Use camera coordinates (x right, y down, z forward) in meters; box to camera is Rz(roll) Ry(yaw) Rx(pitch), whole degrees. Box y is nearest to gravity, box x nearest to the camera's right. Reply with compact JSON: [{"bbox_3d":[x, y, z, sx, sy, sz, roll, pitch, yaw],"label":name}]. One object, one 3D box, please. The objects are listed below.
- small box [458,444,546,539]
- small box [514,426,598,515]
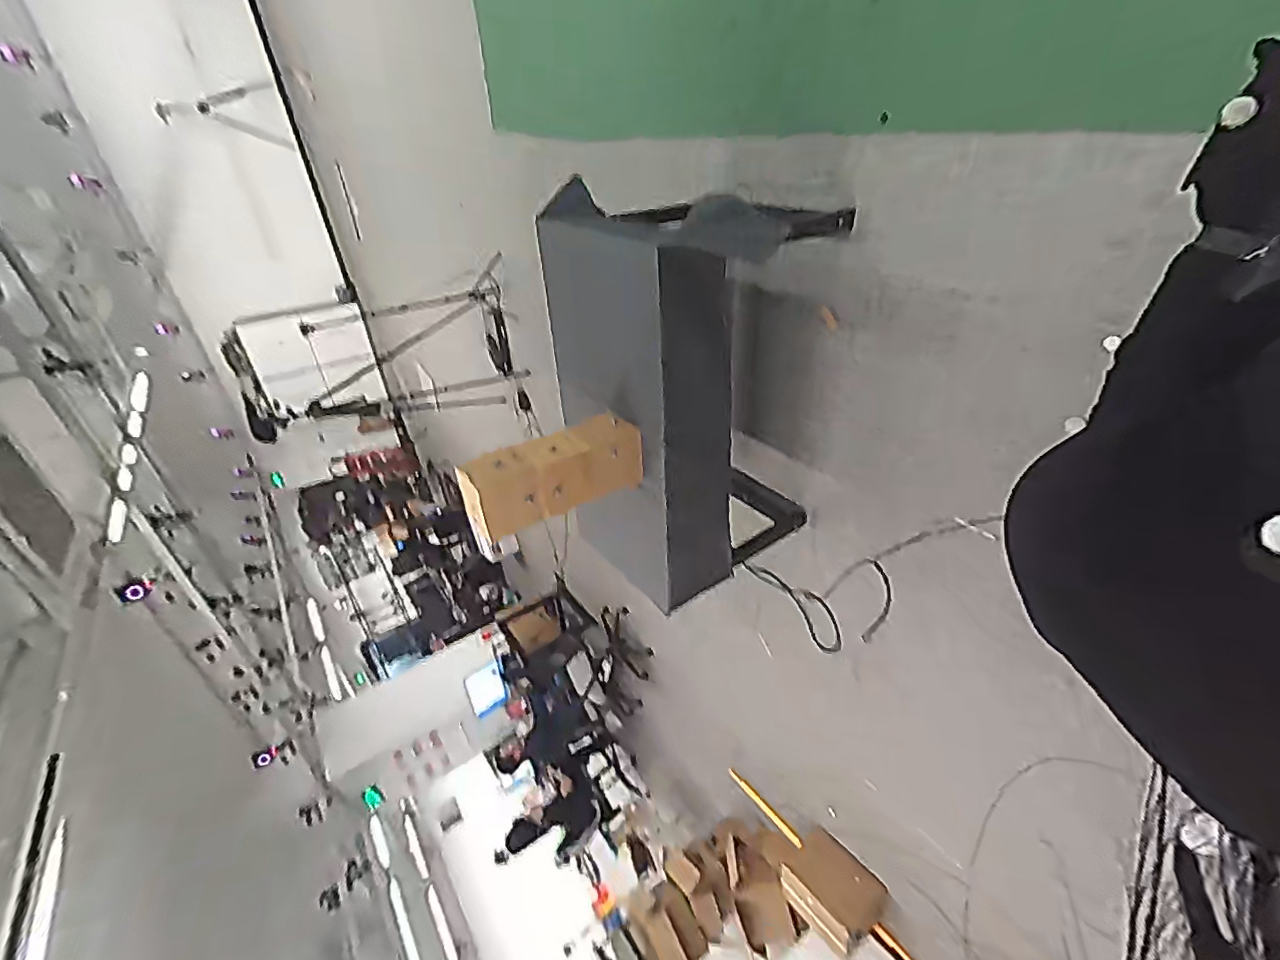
[{"bbox_3d":[-0.372,0.023,1.476,0.168,0.176,0.179,37,140,43],"label":"small box"},{"bbox_3d":[-0.236,-0.034,1.547,0.168,0.176,0.179,35,139,44],"label":"small box"}]
